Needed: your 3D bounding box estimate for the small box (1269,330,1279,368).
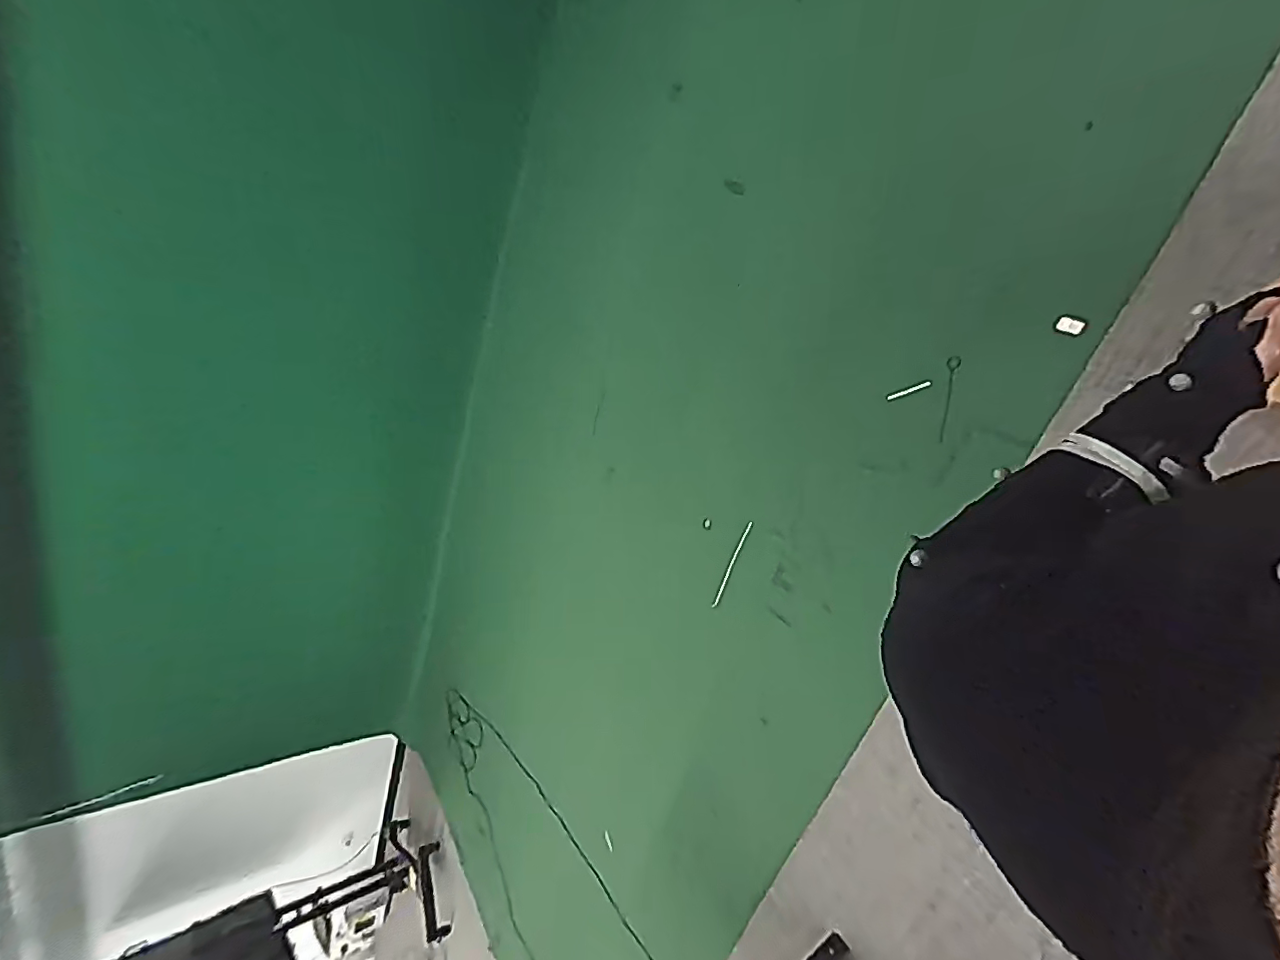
[{"bbox_3d":[0.961,-0.209,0.677,0.179,0.176,0.168,36,115,45],"label":"small box"}]
